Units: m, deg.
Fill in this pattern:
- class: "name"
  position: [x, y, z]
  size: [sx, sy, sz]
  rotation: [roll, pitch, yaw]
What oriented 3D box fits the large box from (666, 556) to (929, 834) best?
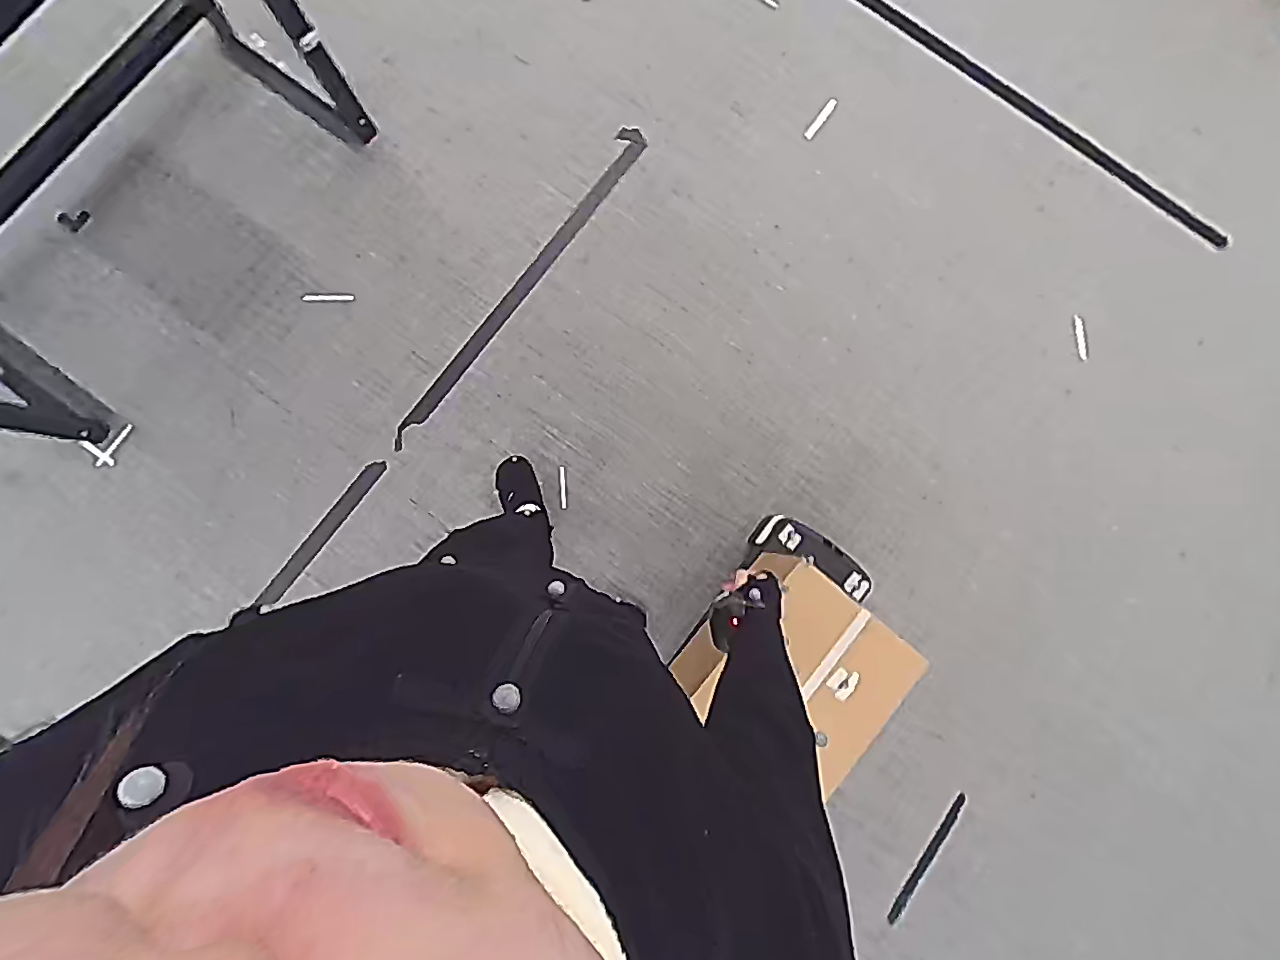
- class: "large box"
  position: [0.300, 0.412, 1.146]
  size: [0.320, 0.320, 0.408]
  rotation: [40, 84, 2]
